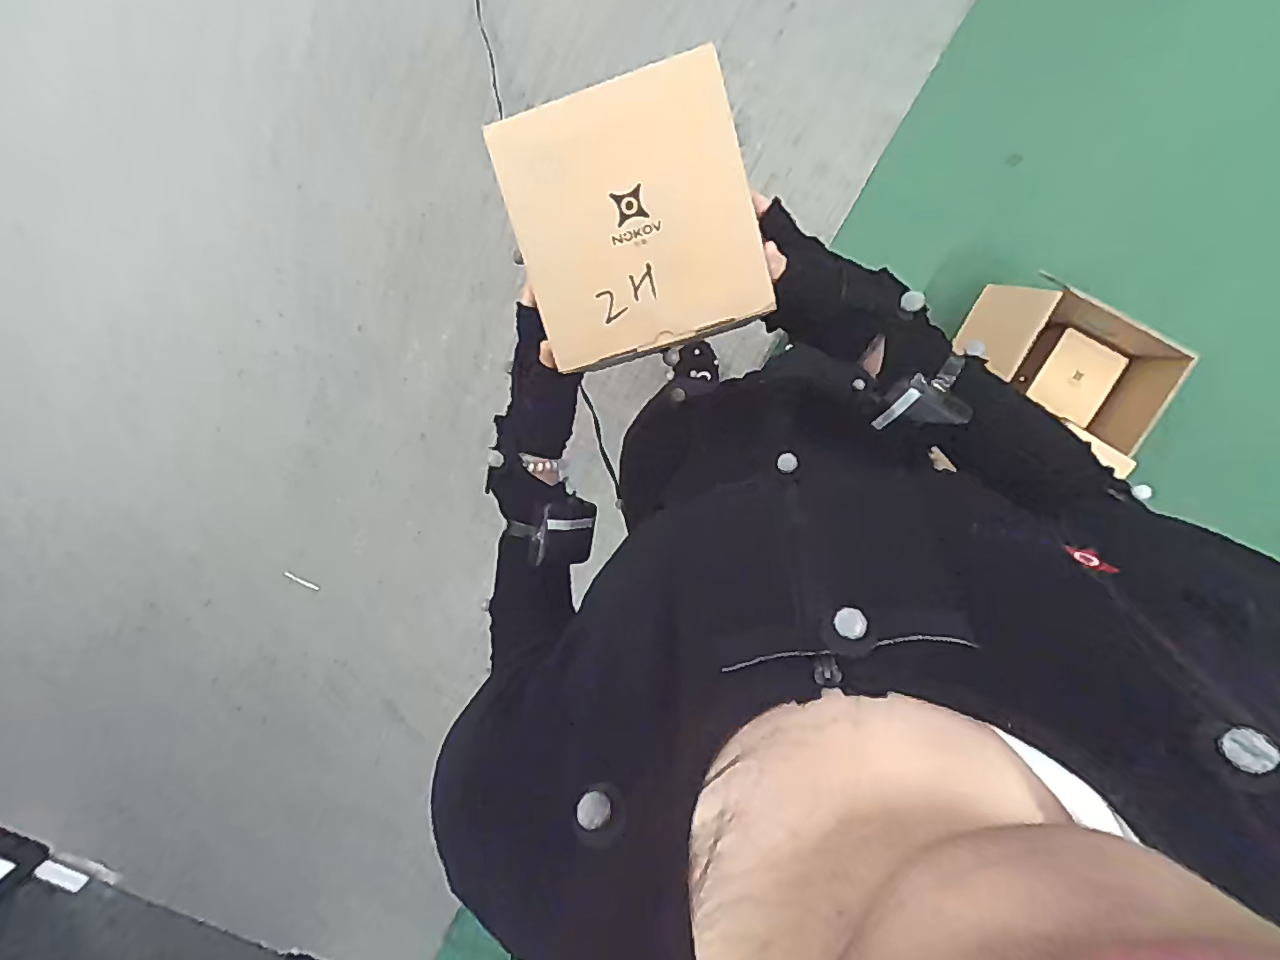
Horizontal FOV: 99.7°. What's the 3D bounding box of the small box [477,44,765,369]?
[{"bbox_3d":[-0.007,-0.197,0.451,0.168,0.176,0.179,-15,100,8],"label":"small box"}]
